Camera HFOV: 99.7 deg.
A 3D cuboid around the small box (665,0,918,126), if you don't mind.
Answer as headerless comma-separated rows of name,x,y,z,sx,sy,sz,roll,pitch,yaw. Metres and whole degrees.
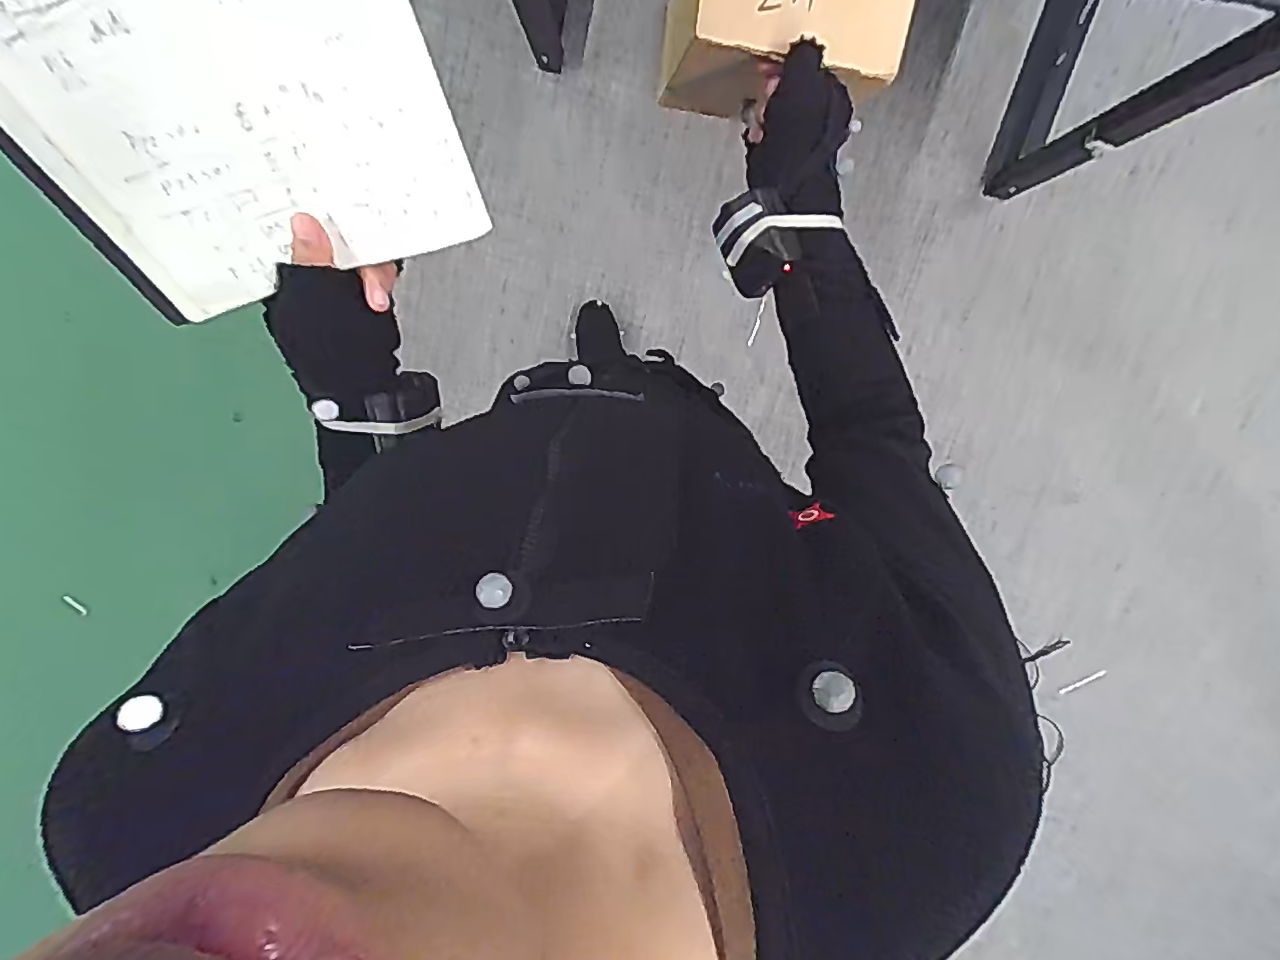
small box,0.123,-0.433,0.456,0.168,0.176,0.179,4,109,-10
